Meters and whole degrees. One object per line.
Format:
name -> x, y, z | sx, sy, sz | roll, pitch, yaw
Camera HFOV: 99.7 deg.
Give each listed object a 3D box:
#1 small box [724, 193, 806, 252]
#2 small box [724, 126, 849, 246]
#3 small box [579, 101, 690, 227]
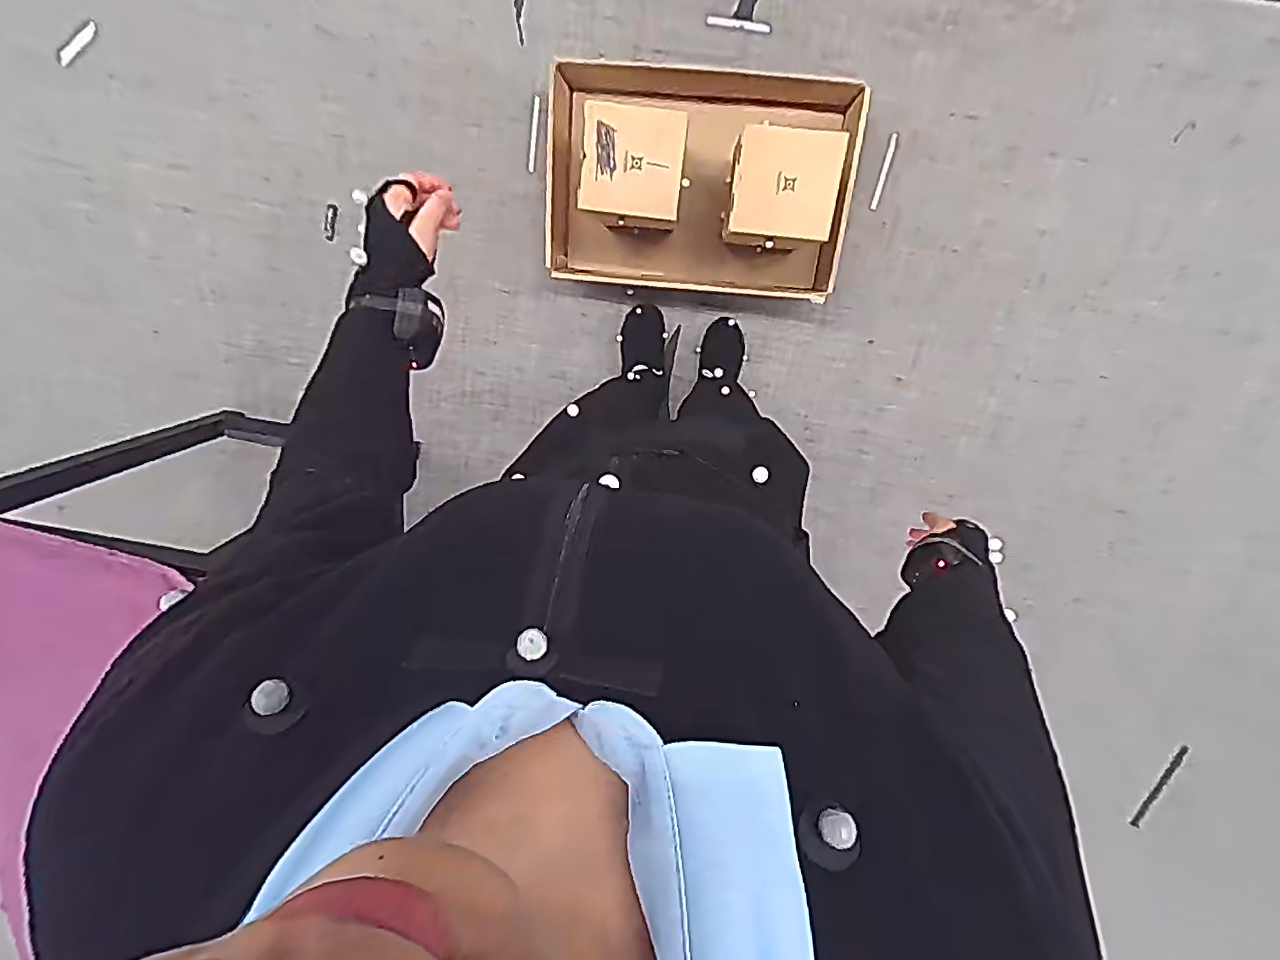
small box -> 0.273, -0.585, 1.142 | 0.168, 0.176, 0.179 | 7, 110, 2
small box -> 0.257, -0.527, 0.991 | 0.179, 0.176, 0.168 | 7, 111, 3
small box -> -0.008, -0.569, 0.995 | 0.179, 0.176, 0.168 | 7, 111, 0
